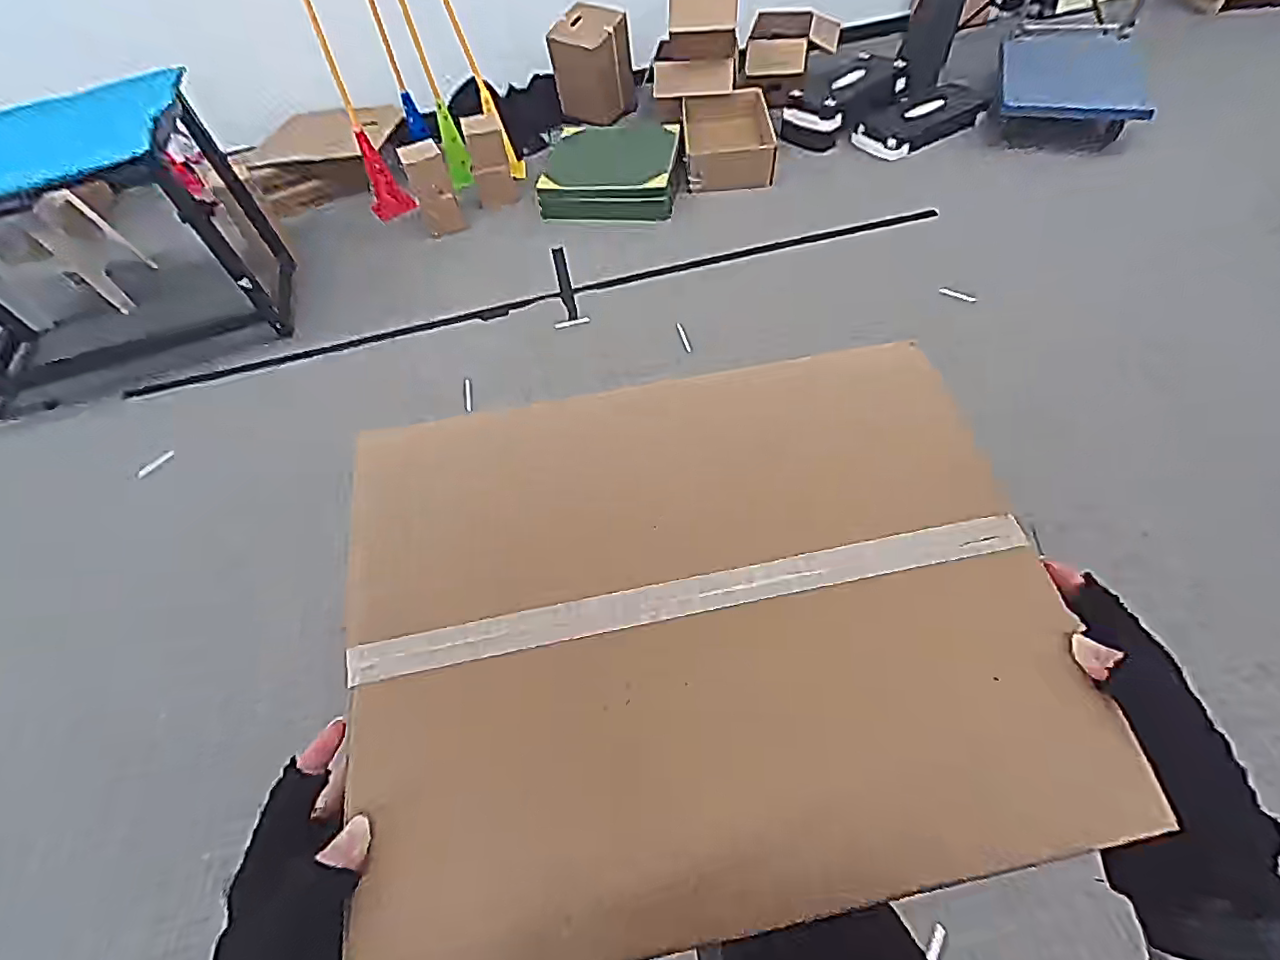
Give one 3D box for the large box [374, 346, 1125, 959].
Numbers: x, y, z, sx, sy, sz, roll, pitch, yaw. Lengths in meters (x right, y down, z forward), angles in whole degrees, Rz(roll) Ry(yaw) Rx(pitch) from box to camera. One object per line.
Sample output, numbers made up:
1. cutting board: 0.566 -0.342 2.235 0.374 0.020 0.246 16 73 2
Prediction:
1. large box: 0.038 0.135 0.469 0.408 0.320 0.320 -11 65 -4
